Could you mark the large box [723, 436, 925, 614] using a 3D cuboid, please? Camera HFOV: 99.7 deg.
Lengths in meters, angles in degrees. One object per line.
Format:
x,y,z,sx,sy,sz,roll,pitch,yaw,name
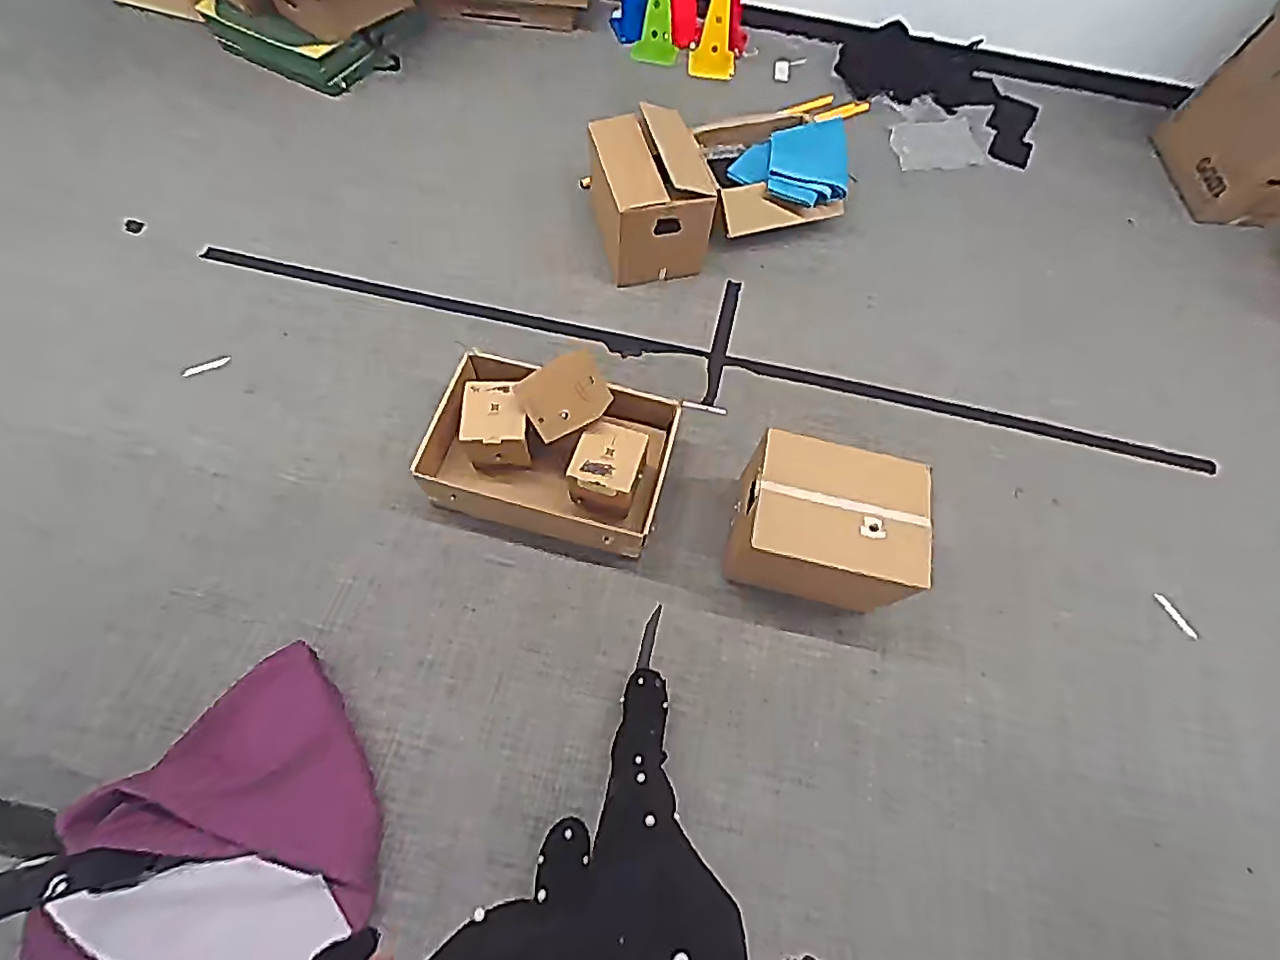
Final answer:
0.453,0.127,1.391,0.408,0.320,0.320,13,66,1,large box
